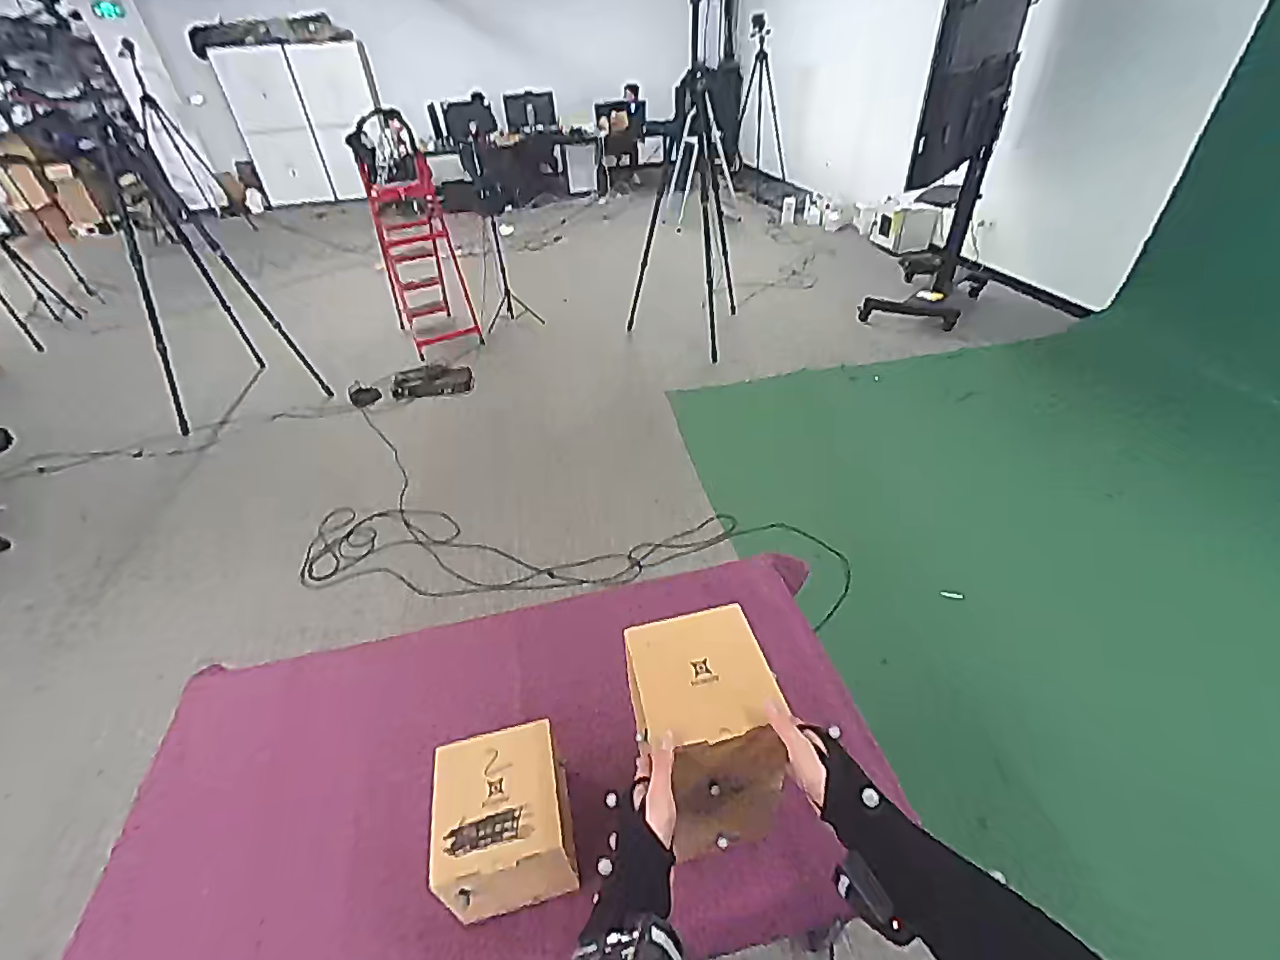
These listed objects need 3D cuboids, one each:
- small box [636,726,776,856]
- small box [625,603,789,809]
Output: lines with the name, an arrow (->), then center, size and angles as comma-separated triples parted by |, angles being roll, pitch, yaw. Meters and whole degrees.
small box -> 0.088, 0.426, 0.819 | 0.168, 0.176, 0.179 | -11, 39, -8
small box -> 0.078, 0.297, 0.720 | 0.168, 0.176, 0.179 | -11, 39, -8
